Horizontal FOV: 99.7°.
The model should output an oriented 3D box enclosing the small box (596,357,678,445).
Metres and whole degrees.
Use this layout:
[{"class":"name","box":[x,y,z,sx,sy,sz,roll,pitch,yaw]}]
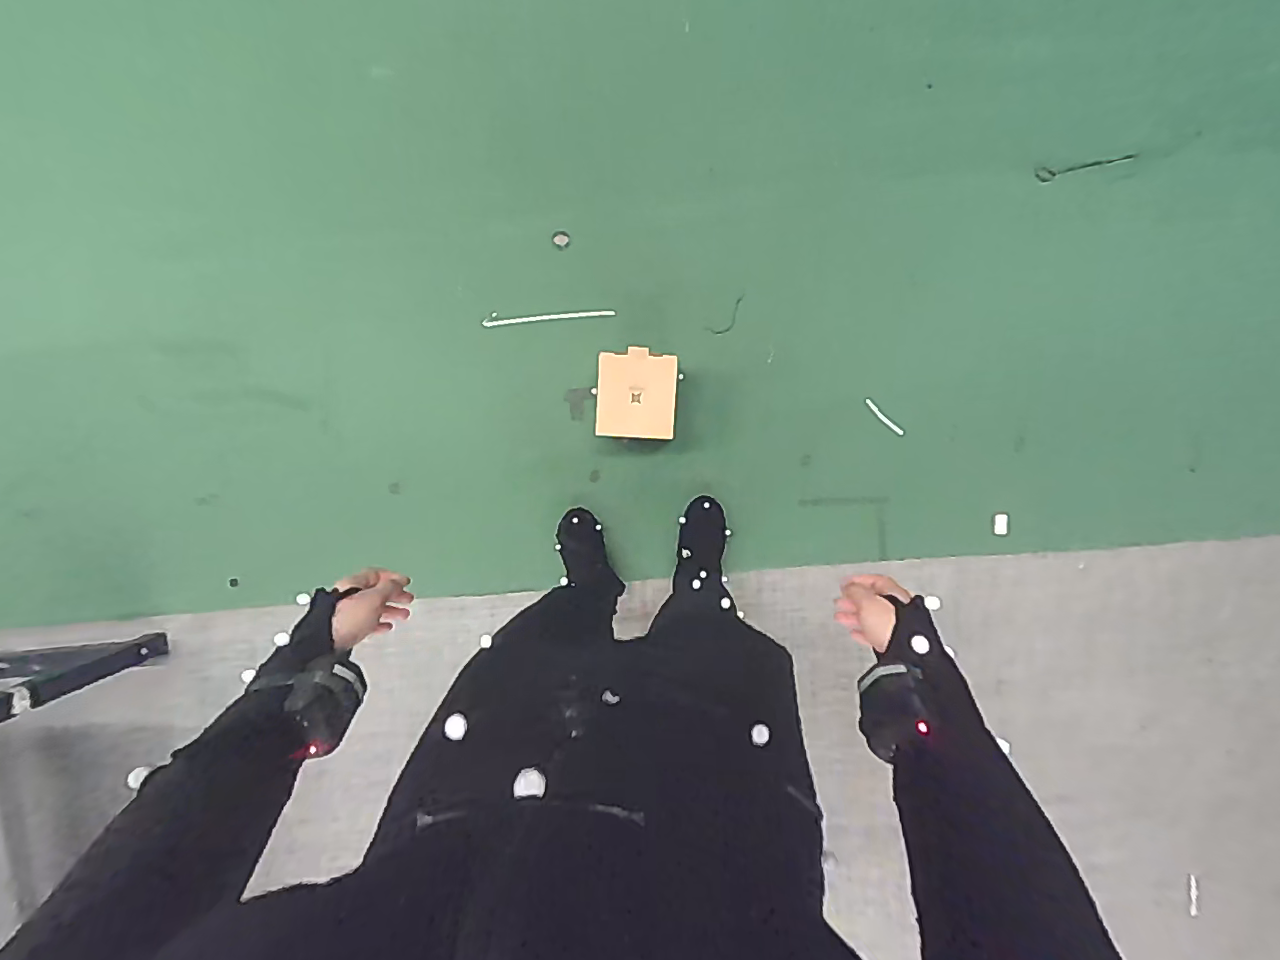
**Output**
[{"class":"small box","box":[-0.004,-0.172,1.207,0.168,0.176,0.179,3,94,1]}]
